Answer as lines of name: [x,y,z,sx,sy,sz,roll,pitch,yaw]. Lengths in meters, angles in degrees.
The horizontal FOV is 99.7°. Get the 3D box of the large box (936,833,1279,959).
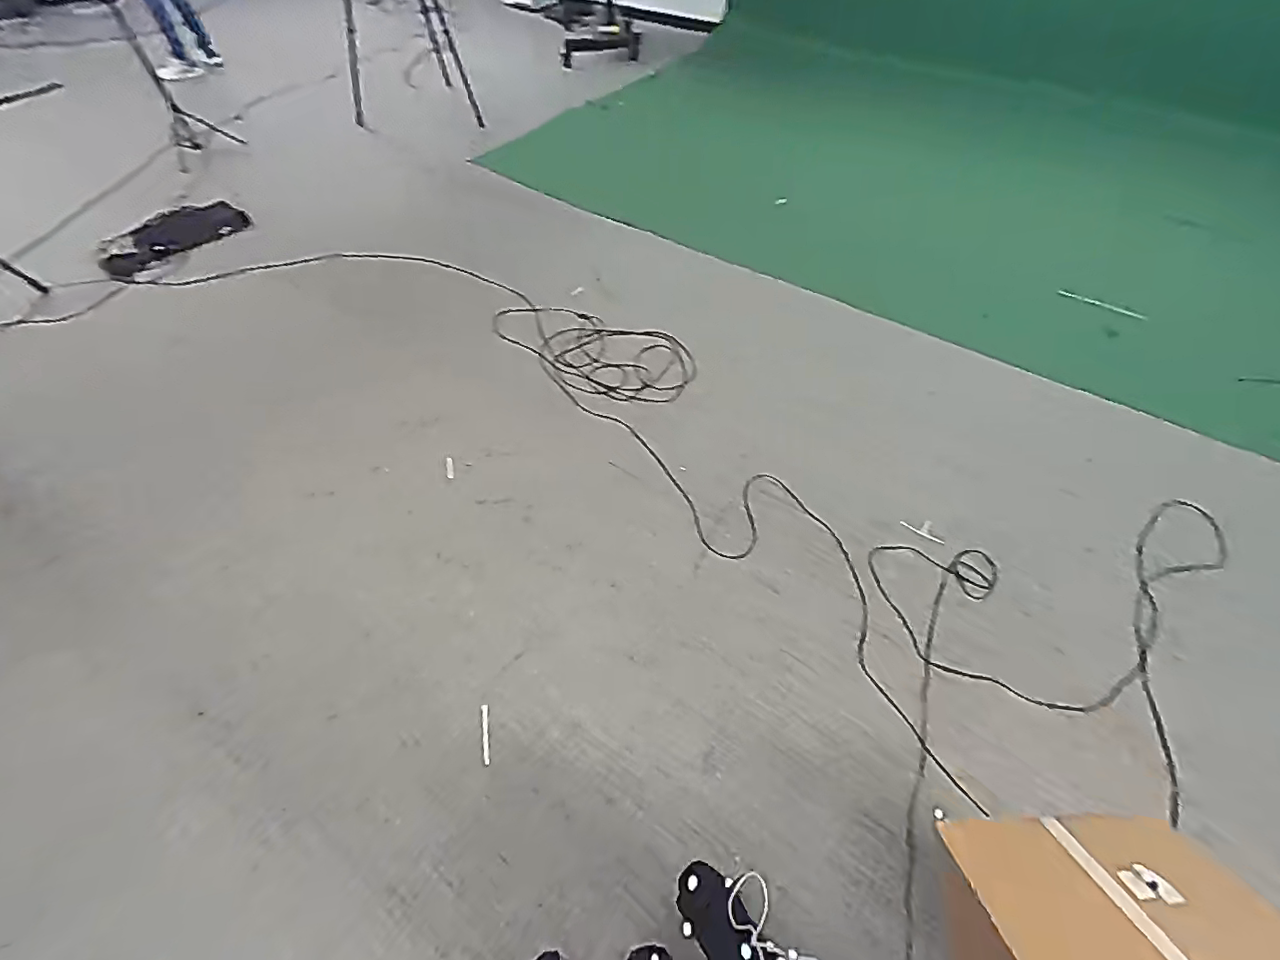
large box: [0.592,0.688,0.614,0.320,0.408,0.320,-4,90,8]
